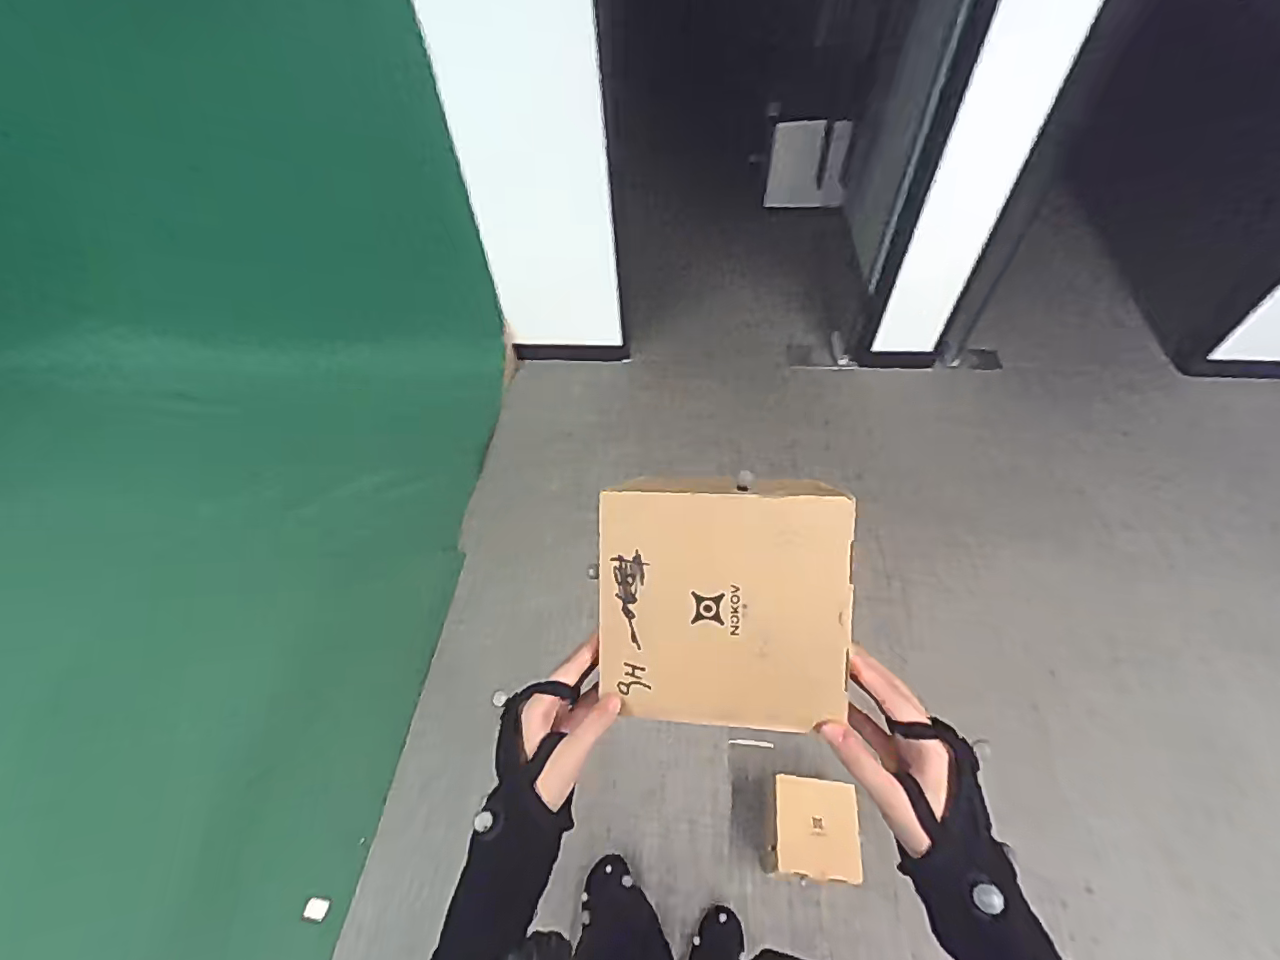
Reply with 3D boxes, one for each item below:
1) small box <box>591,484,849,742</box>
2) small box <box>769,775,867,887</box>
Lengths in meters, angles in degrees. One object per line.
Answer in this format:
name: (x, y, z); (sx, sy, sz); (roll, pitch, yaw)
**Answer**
small box: (0.062, 0.091, 0.453); (0.179, 0.176, 0.168); (1, 94, 9)
small box: (0.372, 0.757, 1.164); (0.168, 0.176, 0.179); (4, 54, 7)
